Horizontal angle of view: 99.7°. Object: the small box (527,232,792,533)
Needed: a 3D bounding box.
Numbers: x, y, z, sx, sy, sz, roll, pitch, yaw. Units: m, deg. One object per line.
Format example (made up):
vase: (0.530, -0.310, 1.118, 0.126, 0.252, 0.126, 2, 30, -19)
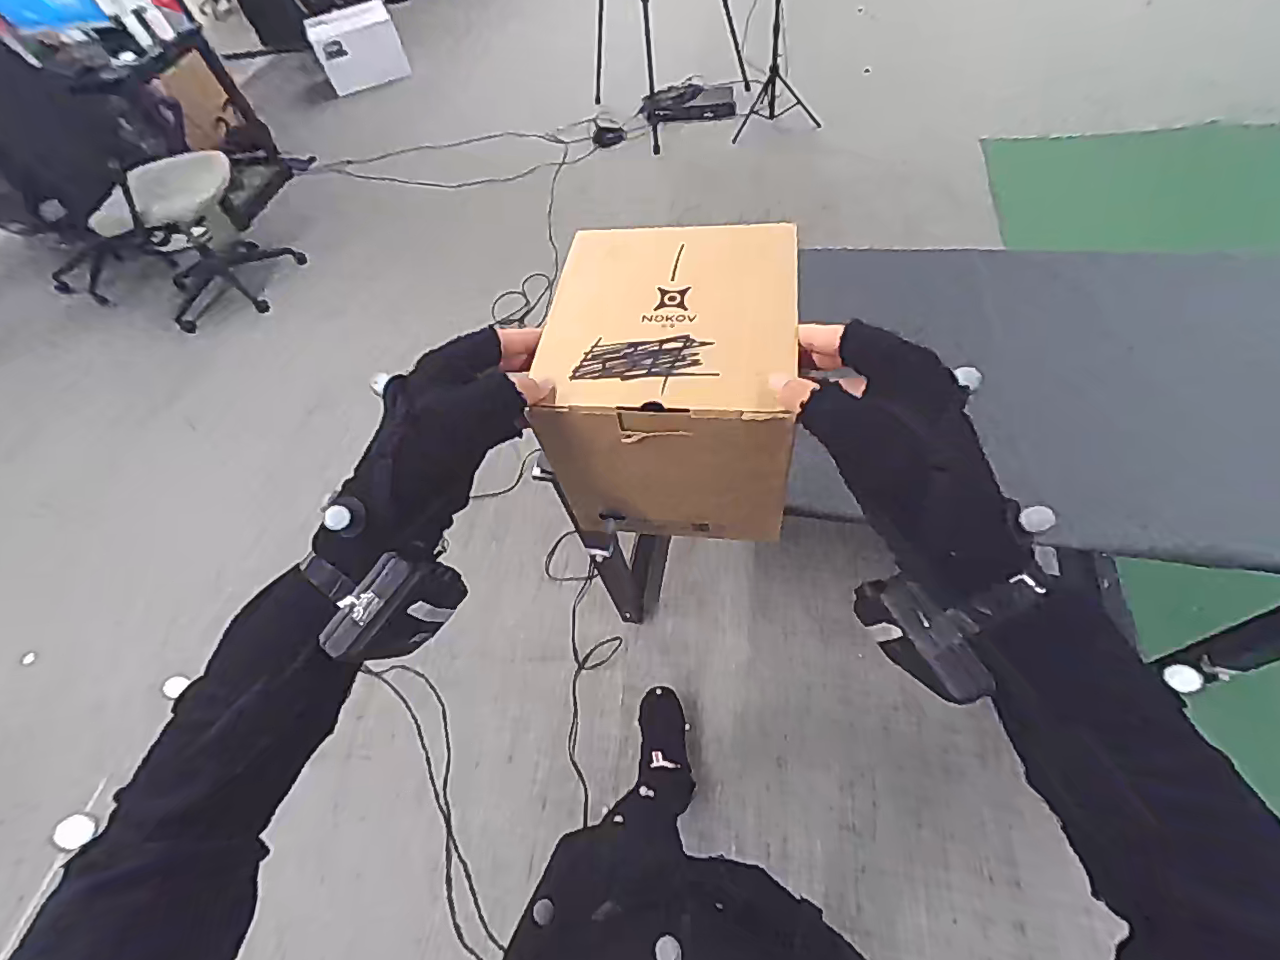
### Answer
small box: (0.030, -0.071, 0.437, 0.168, 0.176, 0.179, 4, 58, 11)
